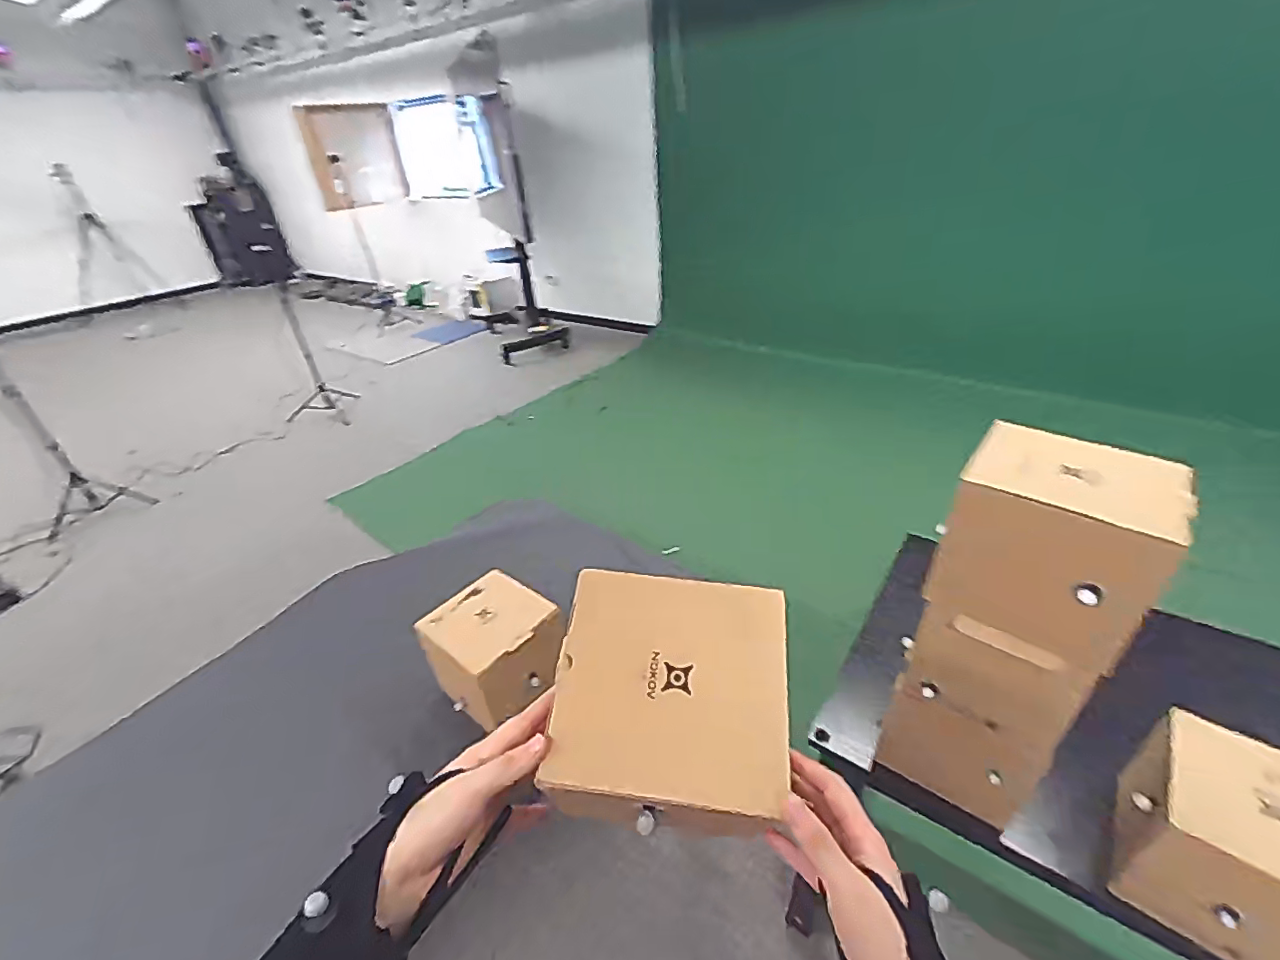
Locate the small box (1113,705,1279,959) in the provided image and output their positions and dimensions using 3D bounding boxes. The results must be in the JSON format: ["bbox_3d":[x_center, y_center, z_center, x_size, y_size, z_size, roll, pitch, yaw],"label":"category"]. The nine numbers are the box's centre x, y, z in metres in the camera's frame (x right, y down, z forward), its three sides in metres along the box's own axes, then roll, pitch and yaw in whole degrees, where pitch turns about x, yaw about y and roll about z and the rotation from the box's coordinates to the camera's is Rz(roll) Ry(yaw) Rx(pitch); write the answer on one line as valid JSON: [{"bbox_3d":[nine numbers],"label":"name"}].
[{"bbox_3d":[0.675,0.407,0.613,0.168,0.176,0.179,22,41,34],"label":"small box"}]

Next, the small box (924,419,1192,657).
[{"bbox_3d":[0.437,0.059,0.581,0.179,0.176,0.168,22,39,34],"label":"small box"}]

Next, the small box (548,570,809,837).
[{"bbox_3d":[0.036,0.197,0.466,0.179,0.176,0.168,5,54,6],"label":"small box"}]

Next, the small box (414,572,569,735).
[{"bbox_3d":[-0.241,0.294,0.912,0.179,0.176,0.168,20,41,36],"label":"small box"}]

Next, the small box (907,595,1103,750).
[{"bbox_3d":[0.453,0.190,0.675,0.168,0.176,0.179,22,41,34],"label":"small box"}]
